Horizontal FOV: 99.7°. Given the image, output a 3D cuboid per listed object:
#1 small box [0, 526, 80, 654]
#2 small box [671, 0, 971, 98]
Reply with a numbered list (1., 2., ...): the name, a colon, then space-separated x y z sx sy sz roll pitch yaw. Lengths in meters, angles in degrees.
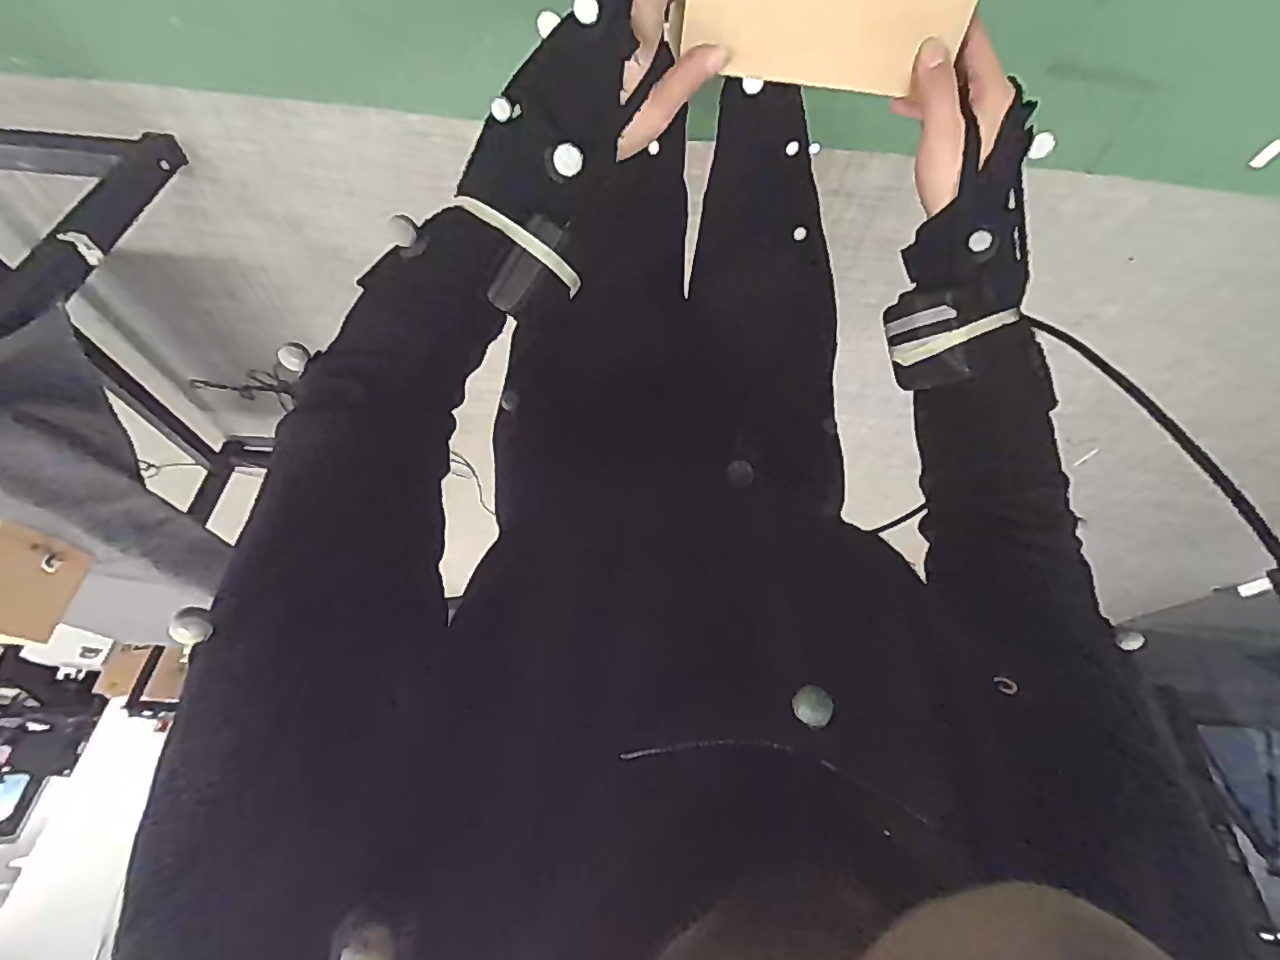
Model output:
1. small box: -1.103 0.177 0.884 0.179 0.176 0.168 0 151 4
2. small box: 0.111 -0.361 0.330 0.168 0.176 0.179 4 132 -4
